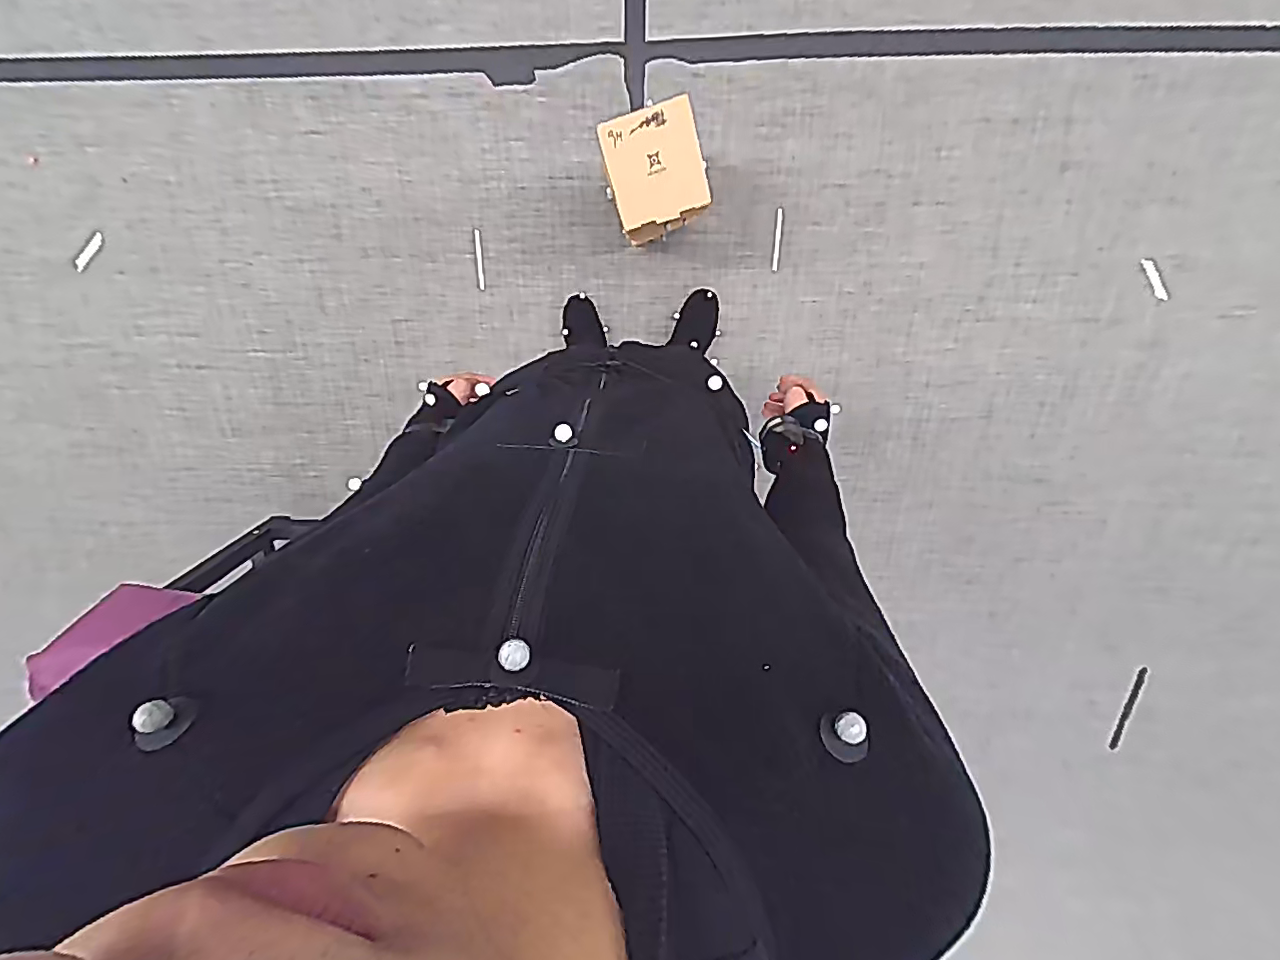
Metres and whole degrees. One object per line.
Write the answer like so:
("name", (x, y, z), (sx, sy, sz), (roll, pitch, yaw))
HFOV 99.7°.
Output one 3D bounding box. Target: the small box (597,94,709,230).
("small box", (0.029, -0.587, 1.022), (0.168, 0.176, 0.179), (-15, 112, 7))
